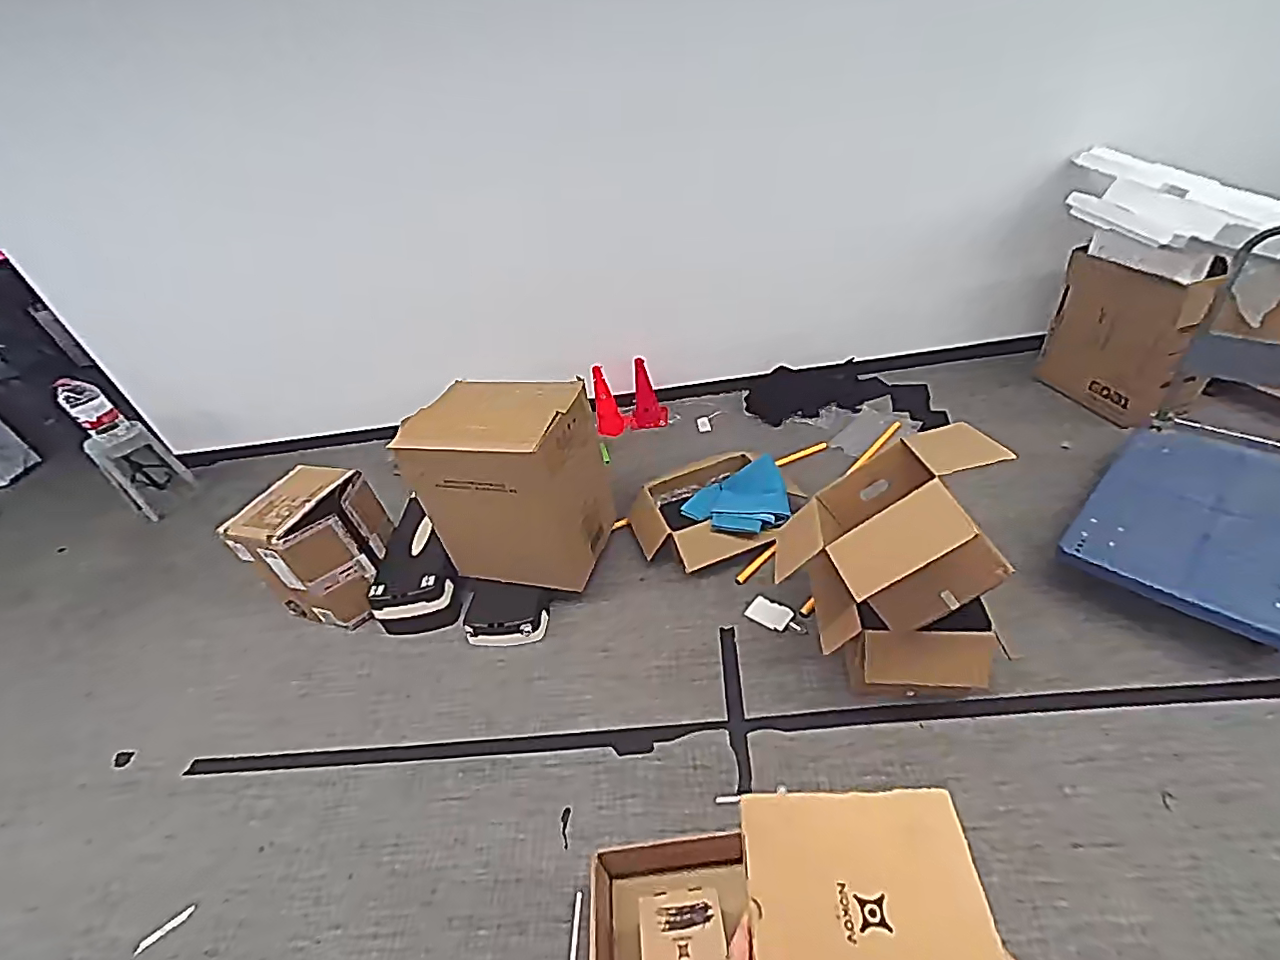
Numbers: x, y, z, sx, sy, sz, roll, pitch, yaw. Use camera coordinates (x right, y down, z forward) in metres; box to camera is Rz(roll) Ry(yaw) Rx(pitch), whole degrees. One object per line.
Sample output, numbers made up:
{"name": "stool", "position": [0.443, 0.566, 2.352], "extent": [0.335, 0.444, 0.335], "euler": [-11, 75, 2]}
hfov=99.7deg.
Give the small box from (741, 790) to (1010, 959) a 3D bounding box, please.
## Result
{"name": "small box", "position": [0.185, 0.378, 0.457], "extent": [0.179, 0.176, 0.168], "euler": [-8, 43, 9]}
